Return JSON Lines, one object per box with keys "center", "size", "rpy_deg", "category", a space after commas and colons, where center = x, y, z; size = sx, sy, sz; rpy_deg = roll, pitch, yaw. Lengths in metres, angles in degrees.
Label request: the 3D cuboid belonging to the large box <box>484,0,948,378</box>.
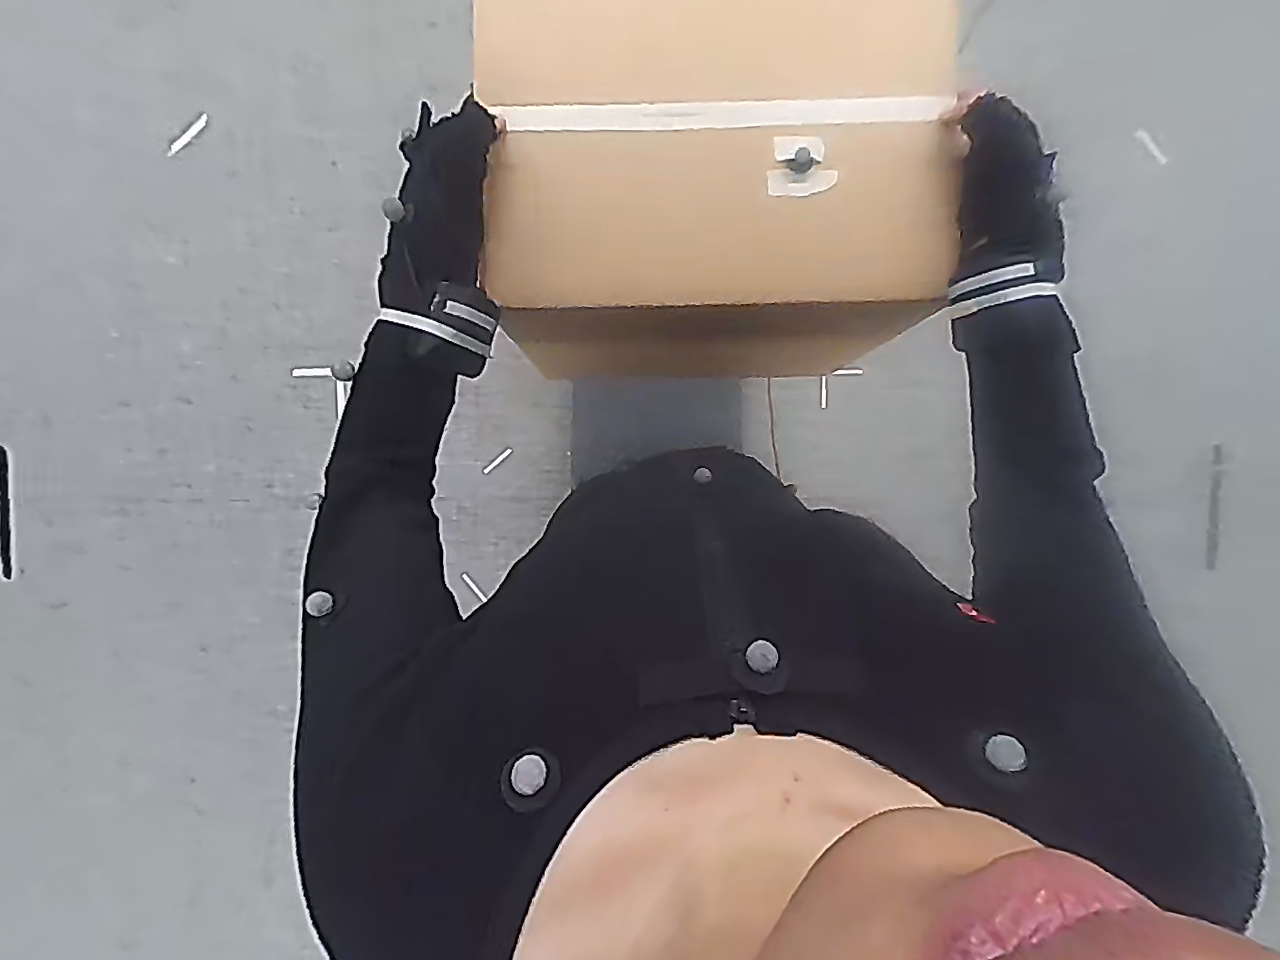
{"center": [0.063, -0.306, 0.620], "size": [0.408, 0.320, 0.320], "rpy_deg": [-1, 89, 0], "category": "large box"}
